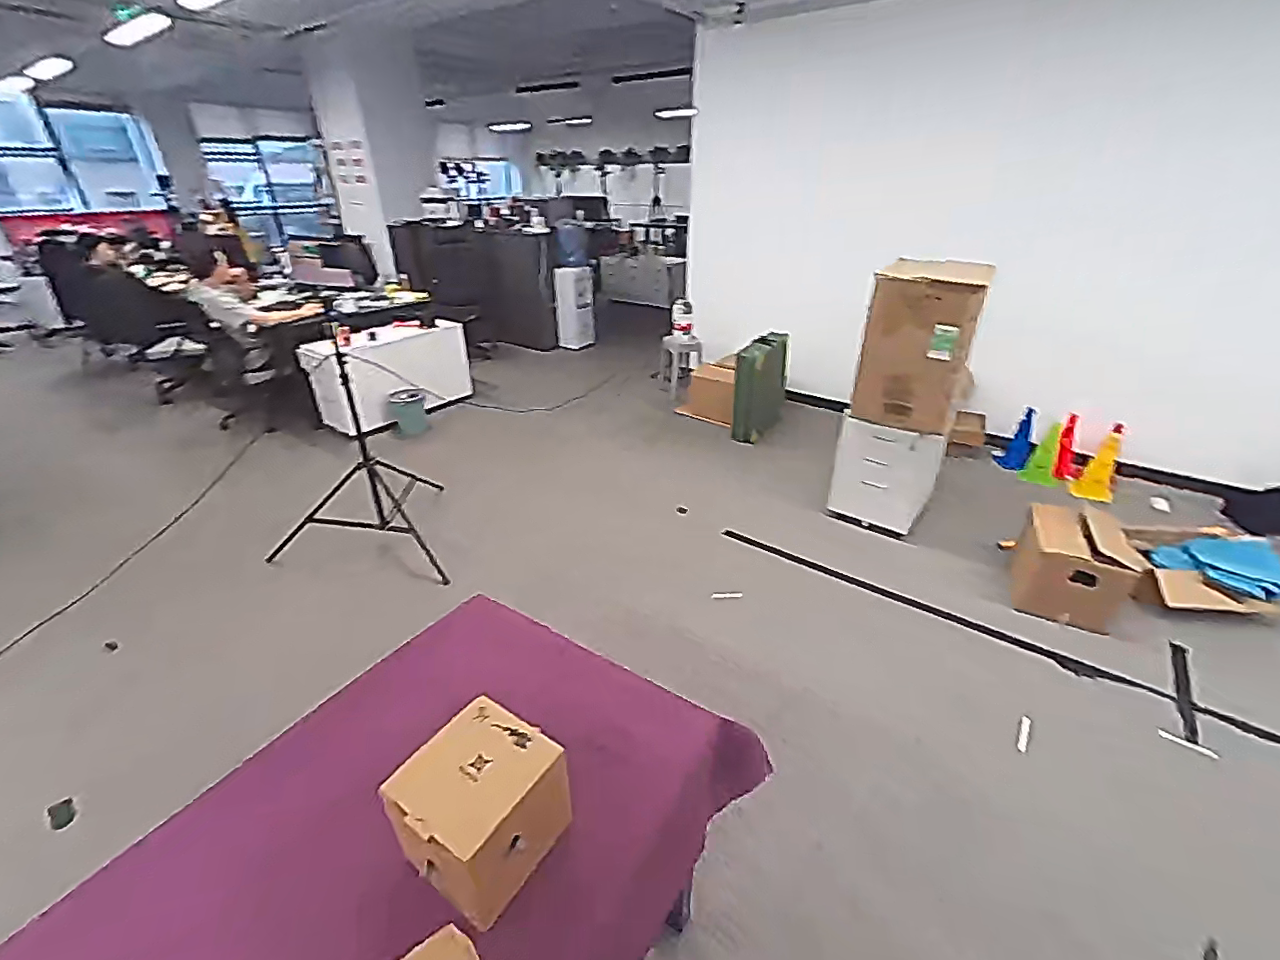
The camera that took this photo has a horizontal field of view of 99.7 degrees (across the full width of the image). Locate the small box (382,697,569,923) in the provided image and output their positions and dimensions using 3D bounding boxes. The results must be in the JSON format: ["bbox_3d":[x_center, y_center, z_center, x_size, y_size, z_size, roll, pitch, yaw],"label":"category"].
[{"bbox_3d":[-0.214,0.451,0.749,0.168,0.176,0.179,17,34,29],"label":"small box"}]

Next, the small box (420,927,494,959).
[{"bbox_3d":[-0.169,0.486,0.402,0.179,0.176,0.168,-24,53,-28],"label":"small box"}]
